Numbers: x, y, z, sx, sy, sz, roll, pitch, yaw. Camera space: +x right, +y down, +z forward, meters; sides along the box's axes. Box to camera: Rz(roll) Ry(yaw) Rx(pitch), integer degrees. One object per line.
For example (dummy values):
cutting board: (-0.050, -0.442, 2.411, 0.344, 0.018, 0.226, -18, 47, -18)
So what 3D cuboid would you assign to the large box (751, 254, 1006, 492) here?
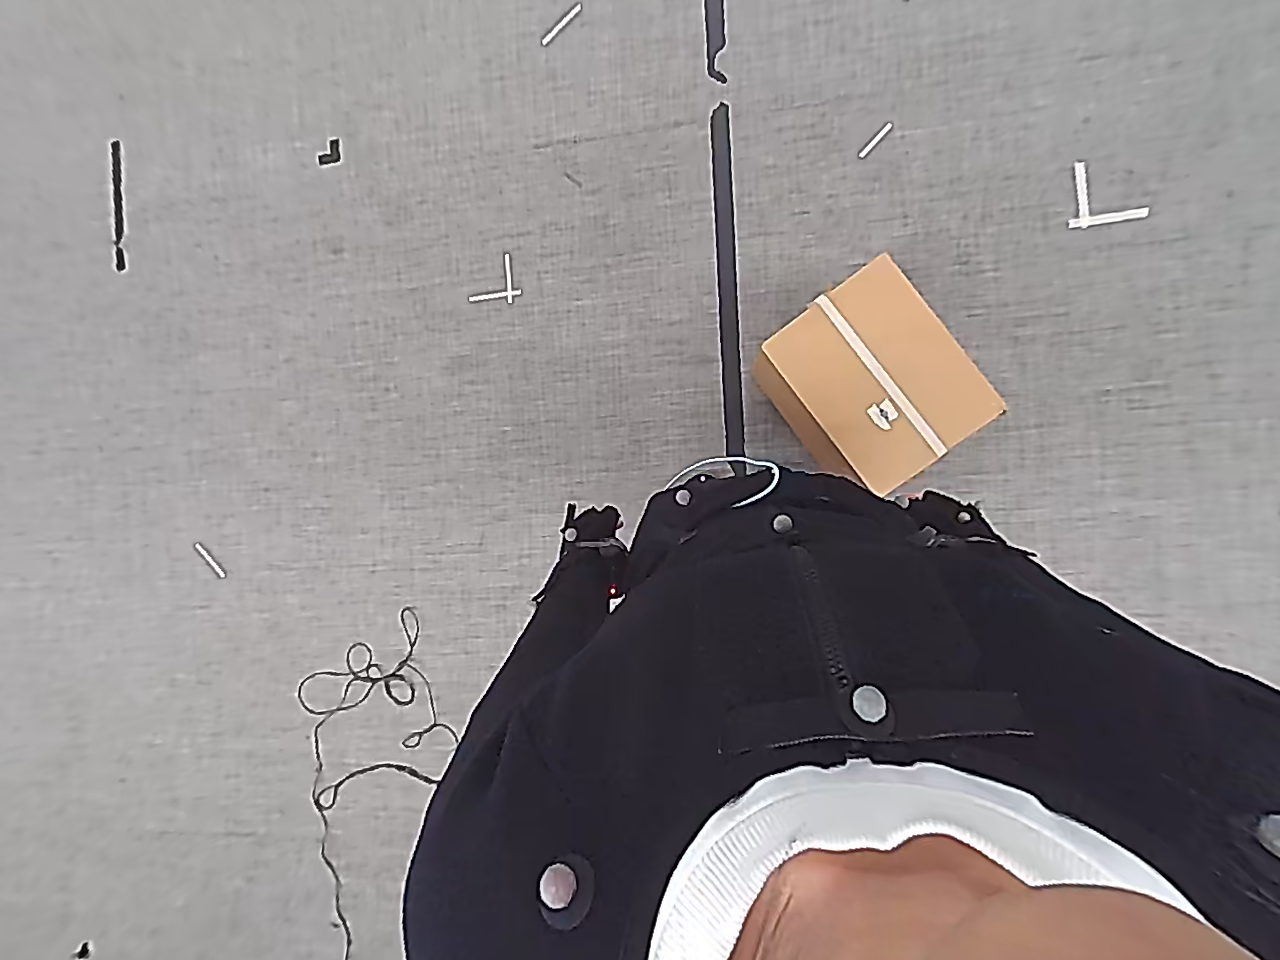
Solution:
large box: (0.512, -0.222, 1.255, 0.320, 0.320, 0.408, -37, 87, 7)
